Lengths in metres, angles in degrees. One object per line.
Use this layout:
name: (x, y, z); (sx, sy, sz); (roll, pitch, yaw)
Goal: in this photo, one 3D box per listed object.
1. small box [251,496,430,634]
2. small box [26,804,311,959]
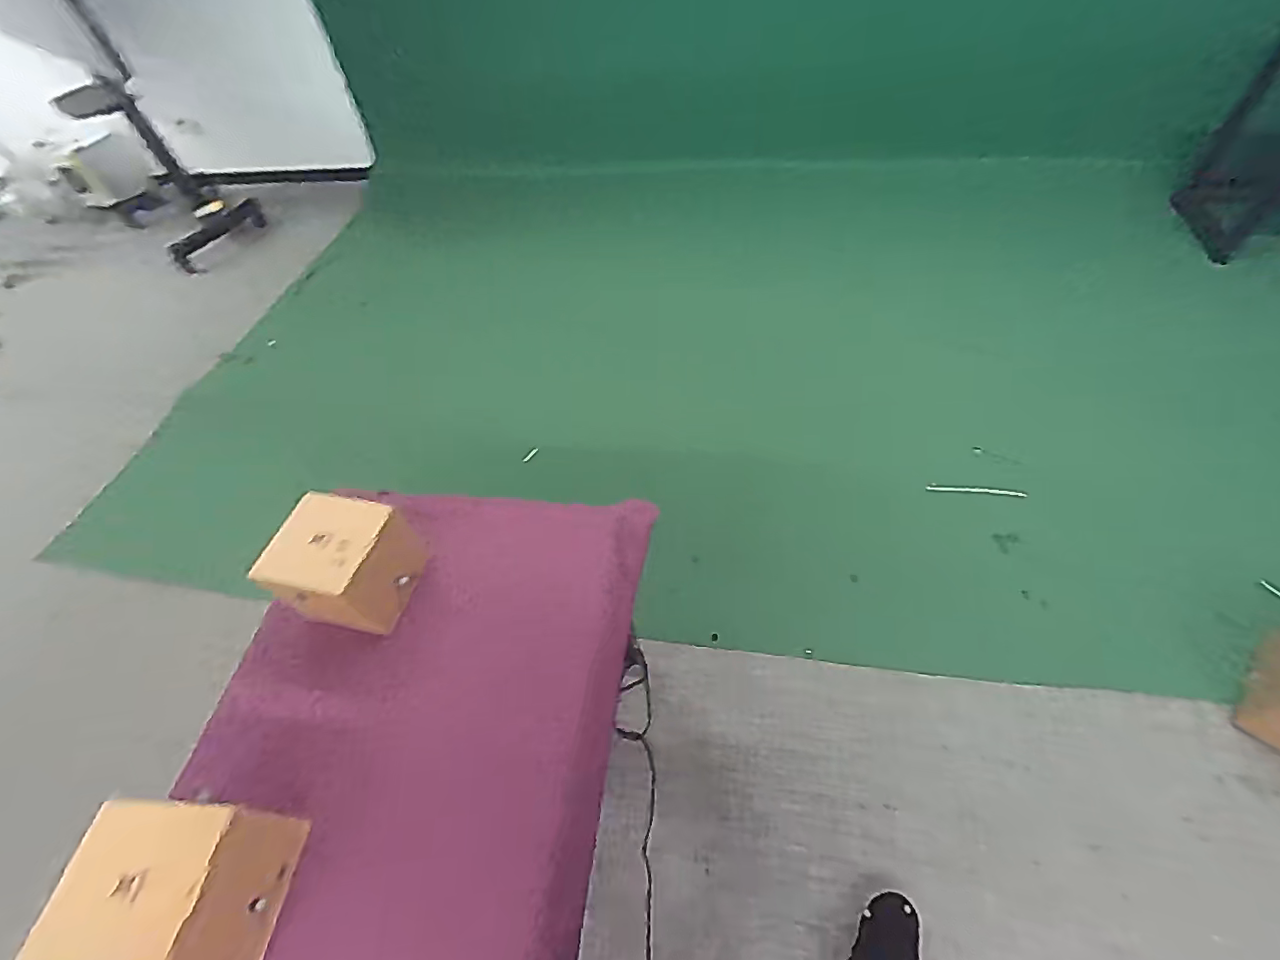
small box: (-0.502, 0.151, 0.937); (0.179, 0.176, 0.168); (8, 56, 12)
small box: (-0.565, 0.515, 0.675); (0.179, 0.176, 0.168); (0, 53, 5)
